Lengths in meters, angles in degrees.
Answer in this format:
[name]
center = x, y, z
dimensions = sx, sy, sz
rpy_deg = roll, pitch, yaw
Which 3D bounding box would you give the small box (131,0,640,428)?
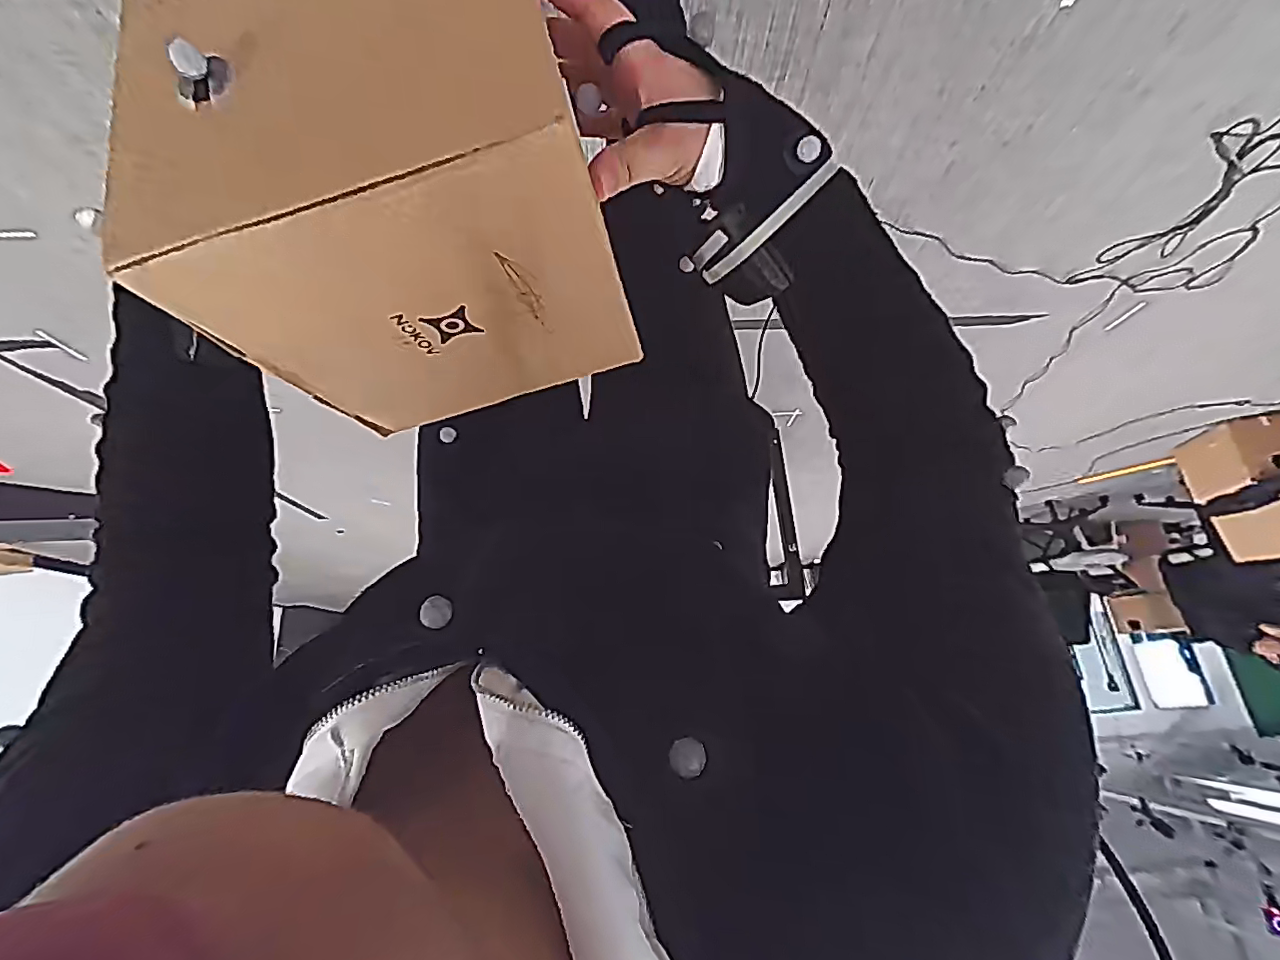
[small box]
center = -0.112, -0.155, 0.294
dimensions = 0.179, 0.176, 0.168
rpy_deg = -17, 162, 4
